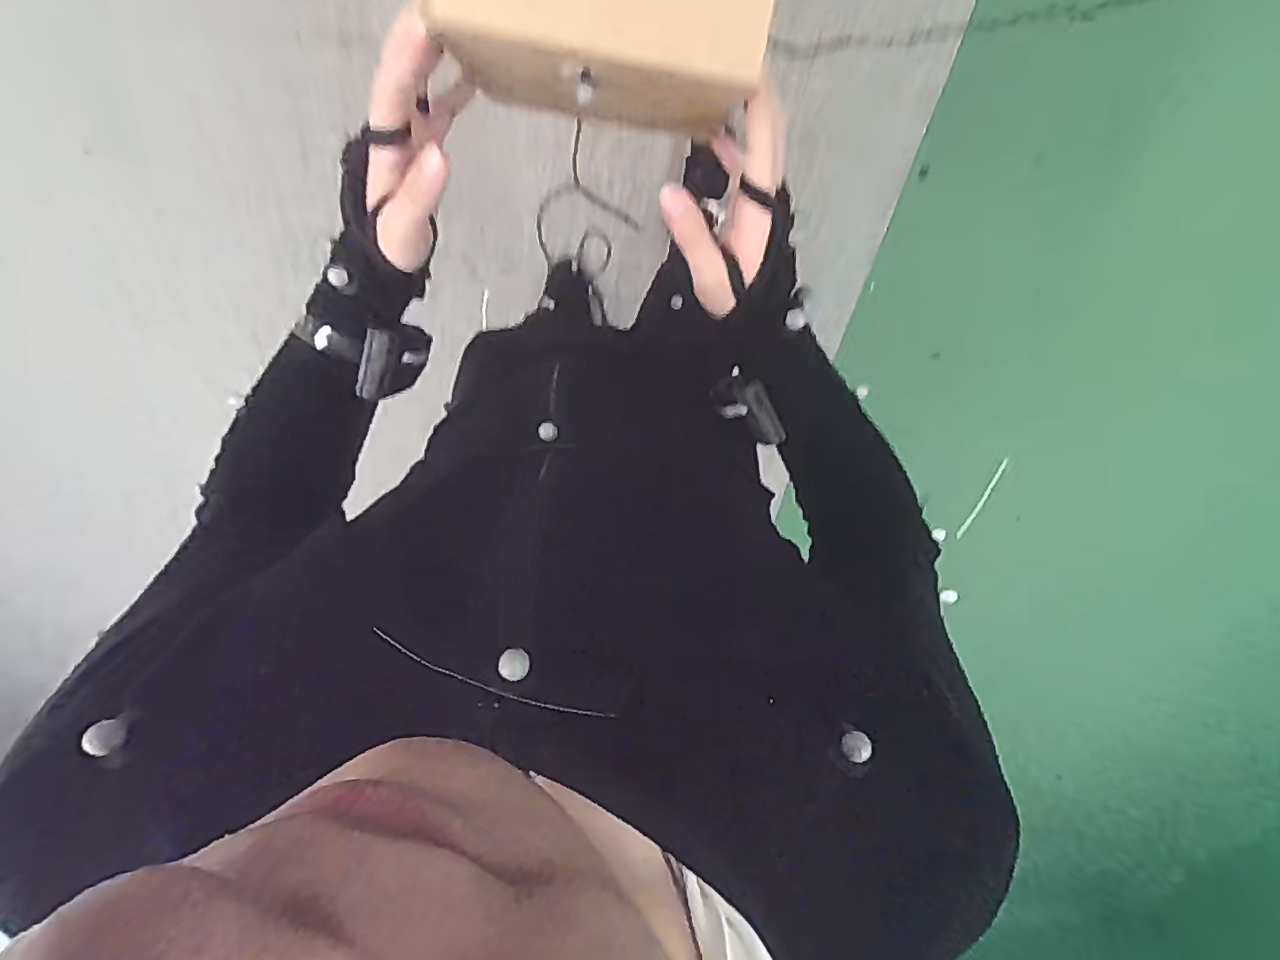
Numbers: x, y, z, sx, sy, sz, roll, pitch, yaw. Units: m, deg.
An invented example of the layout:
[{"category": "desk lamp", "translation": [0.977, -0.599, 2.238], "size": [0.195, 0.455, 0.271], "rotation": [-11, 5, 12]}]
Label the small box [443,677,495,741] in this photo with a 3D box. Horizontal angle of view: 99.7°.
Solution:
[{"category": "small box", "translation": [-0.707, 0.938, 2.223], "size": [0.179, 0.176, 0.168], "rotation": [11, 120, -5]}]

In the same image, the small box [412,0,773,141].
[{"category": "small box", "translation": [-0.016, -0.317, 0.315], "size": [0.179, 0.176, 0.168], "rotation": [7, 112, -6]}]

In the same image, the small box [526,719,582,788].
[{"category": "small box", "translation": [-0.330, 1.059, 2.098], "size": [0.179, 0.176, 0.168], "rotation": [13, 119, -6]}]
